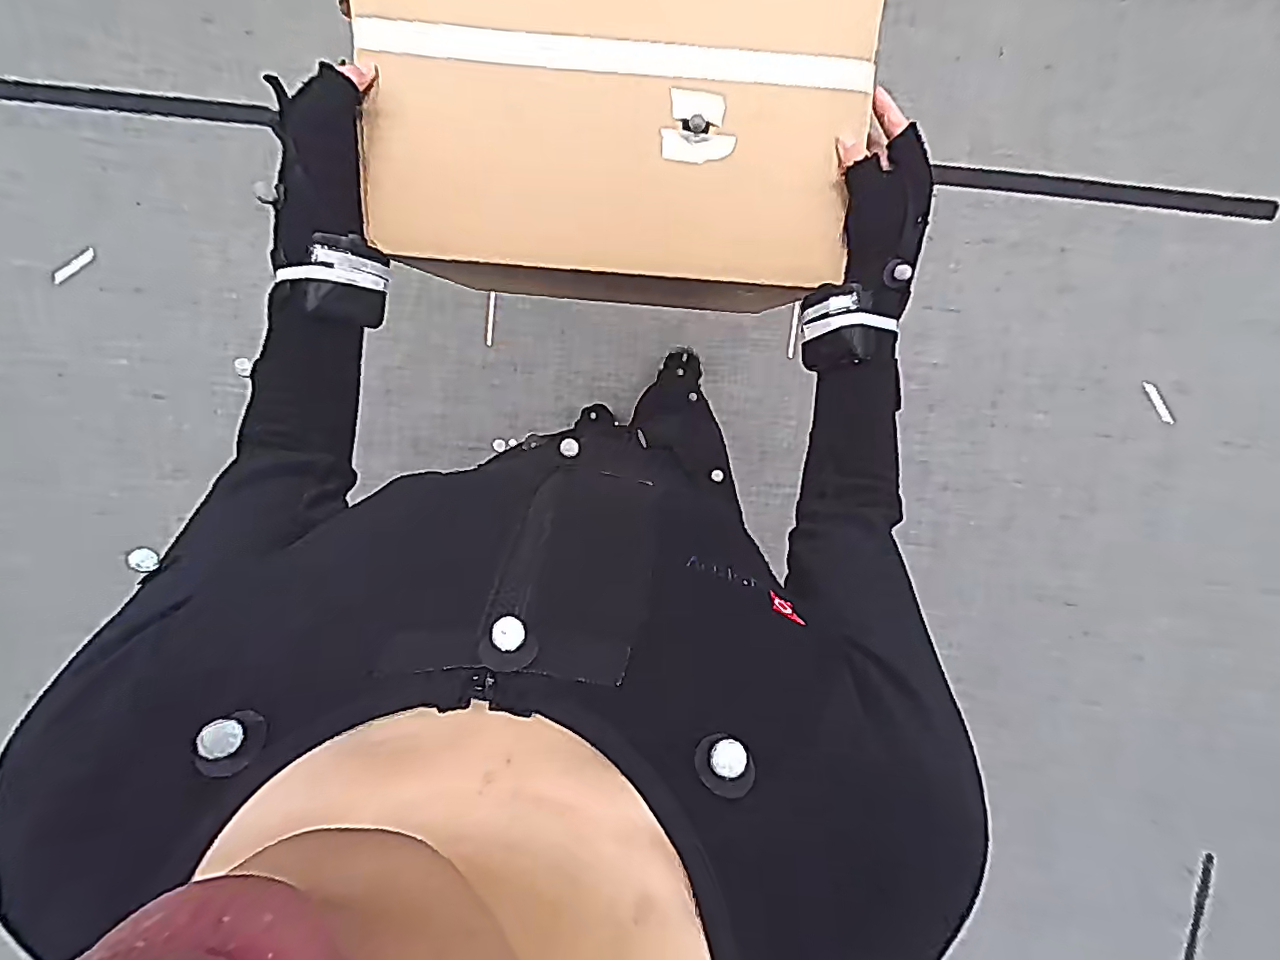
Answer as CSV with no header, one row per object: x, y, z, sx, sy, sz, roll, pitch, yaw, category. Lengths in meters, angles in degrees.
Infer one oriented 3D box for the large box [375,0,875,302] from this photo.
-0.018,-0.376,0.584,0.408,0.320,0.320,4,104,-2,large box
